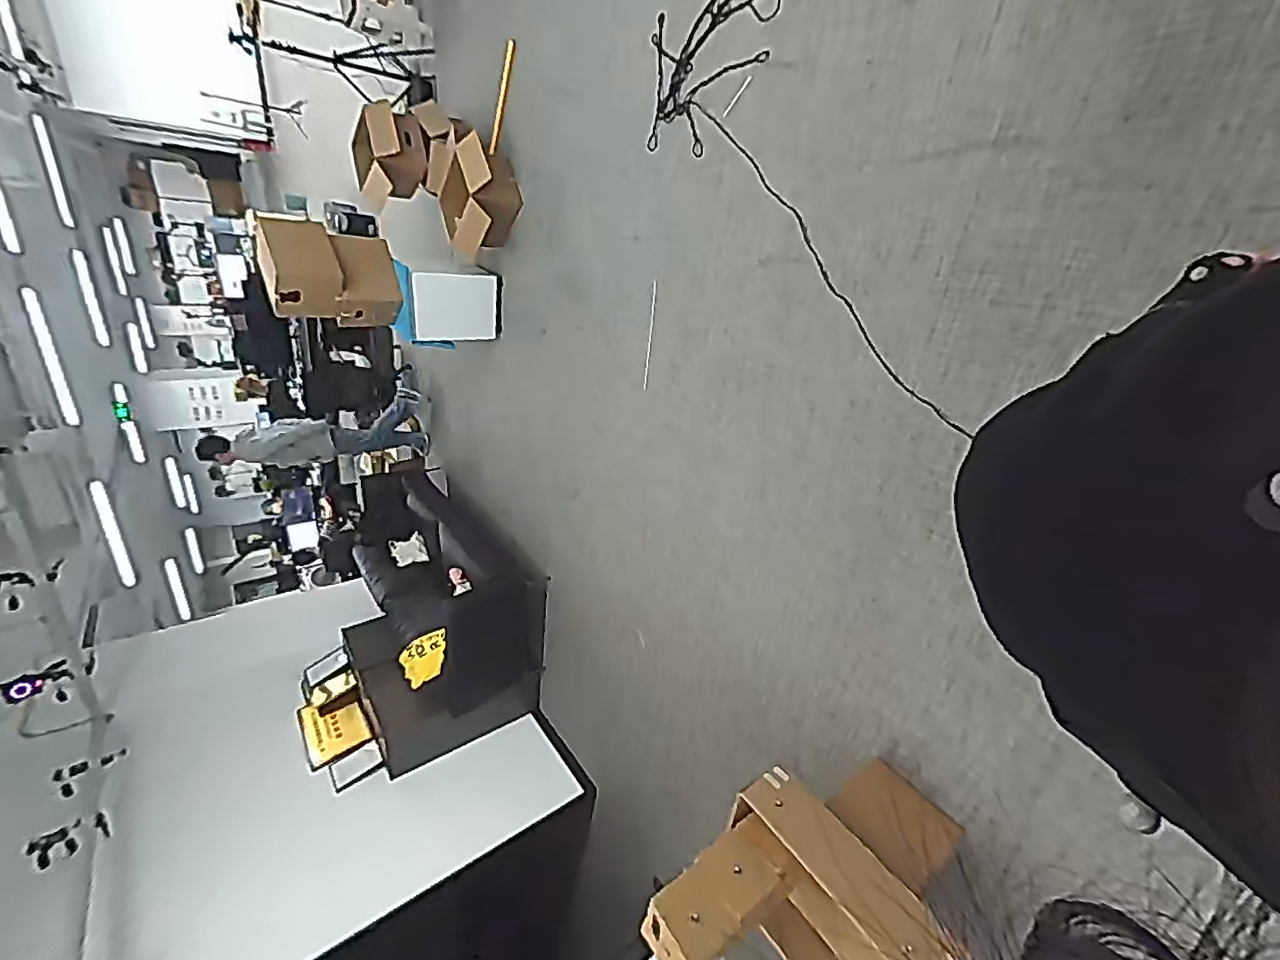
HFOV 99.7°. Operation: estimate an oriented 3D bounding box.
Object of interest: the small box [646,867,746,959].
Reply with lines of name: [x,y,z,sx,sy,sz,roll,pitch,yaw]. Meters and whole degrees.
small box: [0.145,1.159,1.412,0.179,0.176,0.168,38,129,41]
